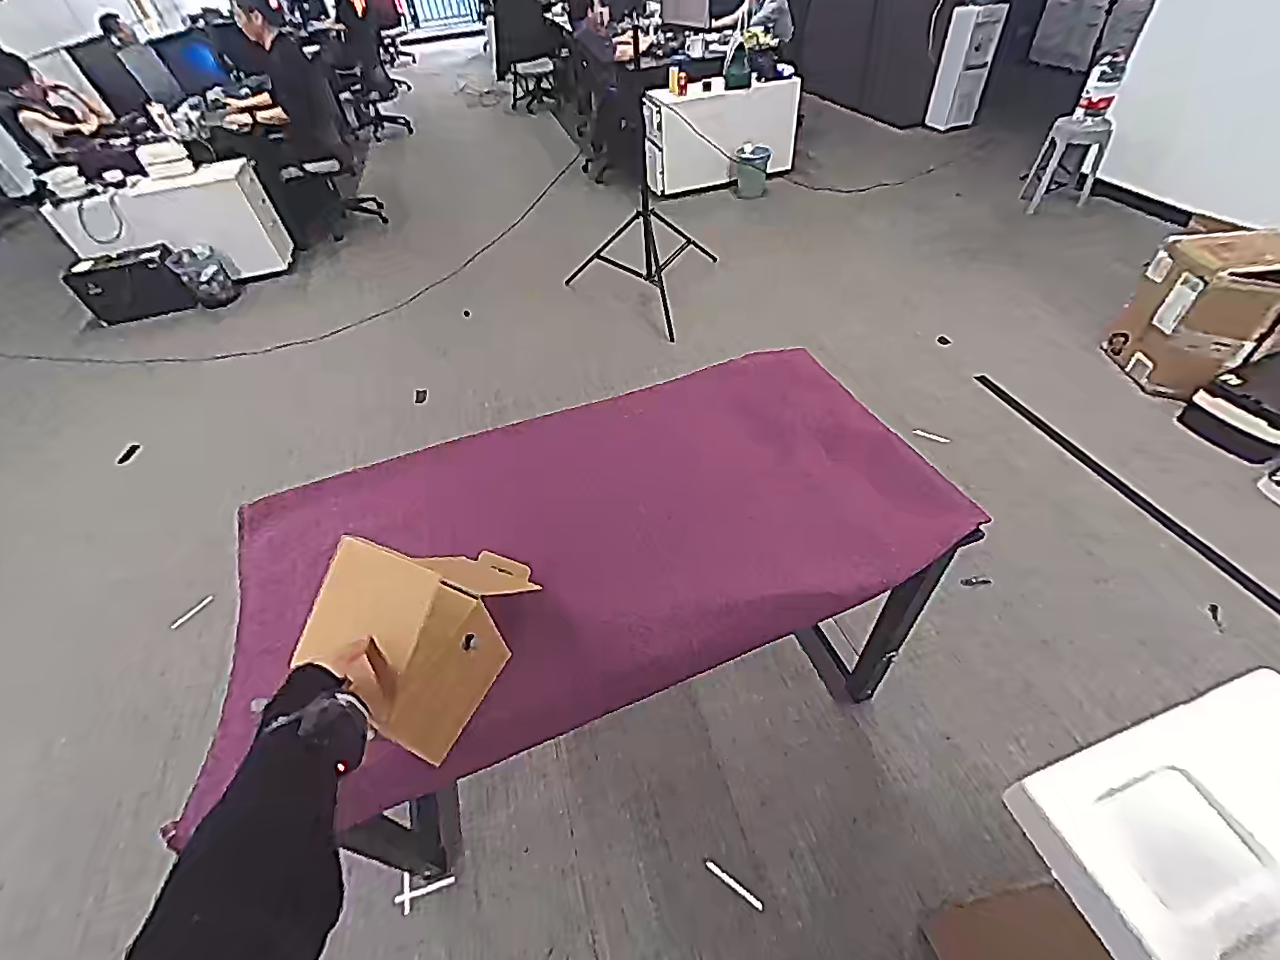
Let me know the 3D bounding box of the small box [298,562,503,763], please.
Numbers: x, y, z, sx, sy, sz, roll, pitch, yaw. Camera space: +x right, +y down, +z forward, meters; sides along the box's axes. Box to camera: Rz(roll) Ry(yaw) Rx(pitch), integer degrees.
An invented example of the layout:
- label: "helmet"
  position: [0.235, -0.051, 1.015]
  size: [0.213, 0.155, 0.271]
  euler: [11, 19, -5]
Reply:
- label: "small box"
  position: [-0.309, 0.250, 0.745]
  size: [0.168, 0.176, 0.179]
  euler: [16, 50, 21]
